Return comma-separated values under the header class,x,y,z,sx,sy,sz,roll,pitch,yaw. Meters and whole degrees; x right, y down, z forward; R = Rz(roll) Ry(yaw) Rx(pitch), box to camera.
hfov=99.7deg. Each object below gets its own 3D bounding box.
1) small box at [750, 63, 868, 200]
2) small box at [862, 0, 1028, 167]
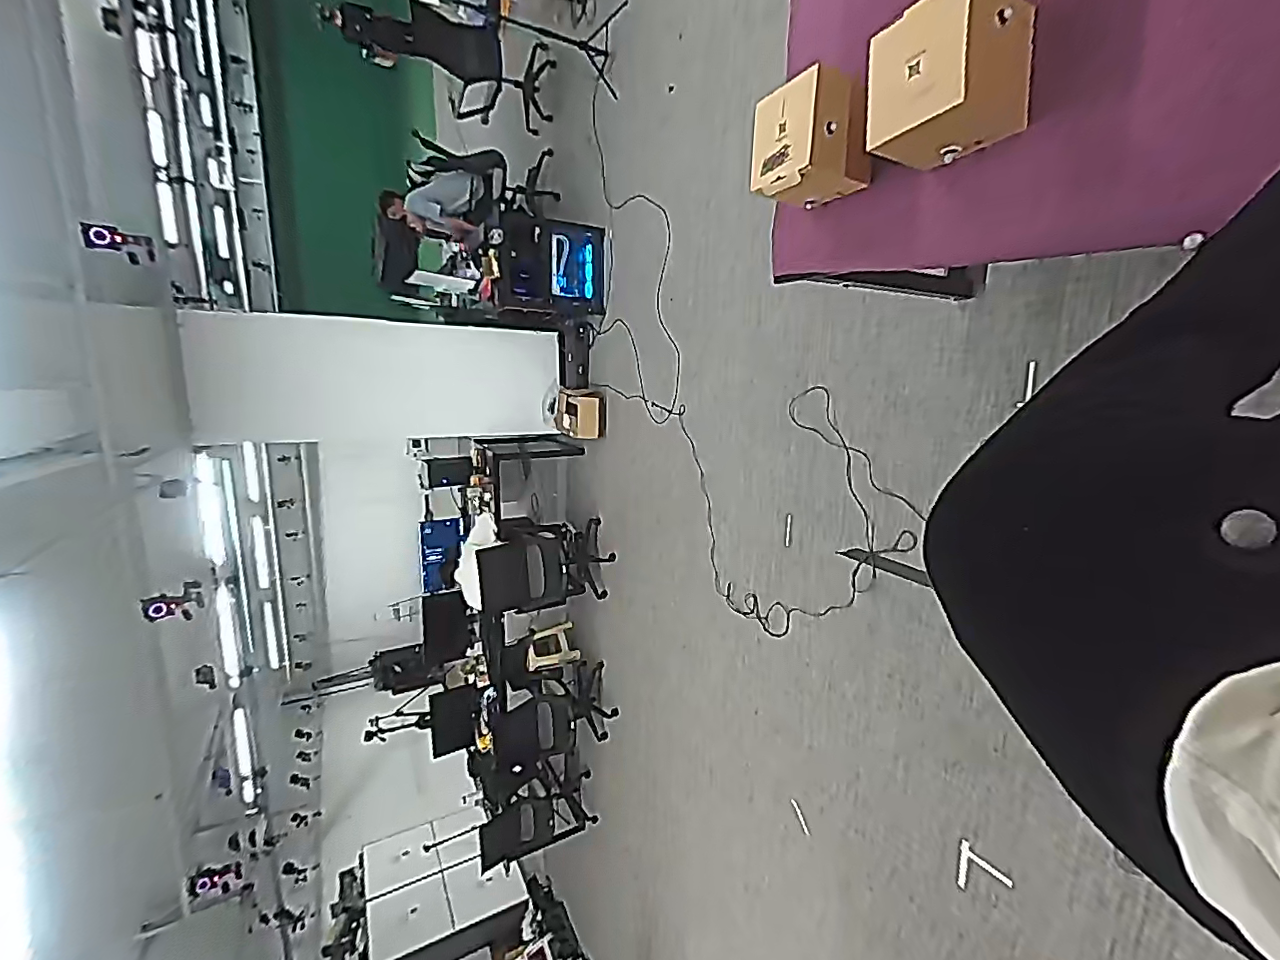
class,x,y,z,sx,sy,sz,roll,pitch,yaw
small box,0.343,-0.681,1.086,0.168,0.176,0.179,17,108,59
small box,0.479,-0.631,0.853,0.168,0.176,0.179,12,105,61
